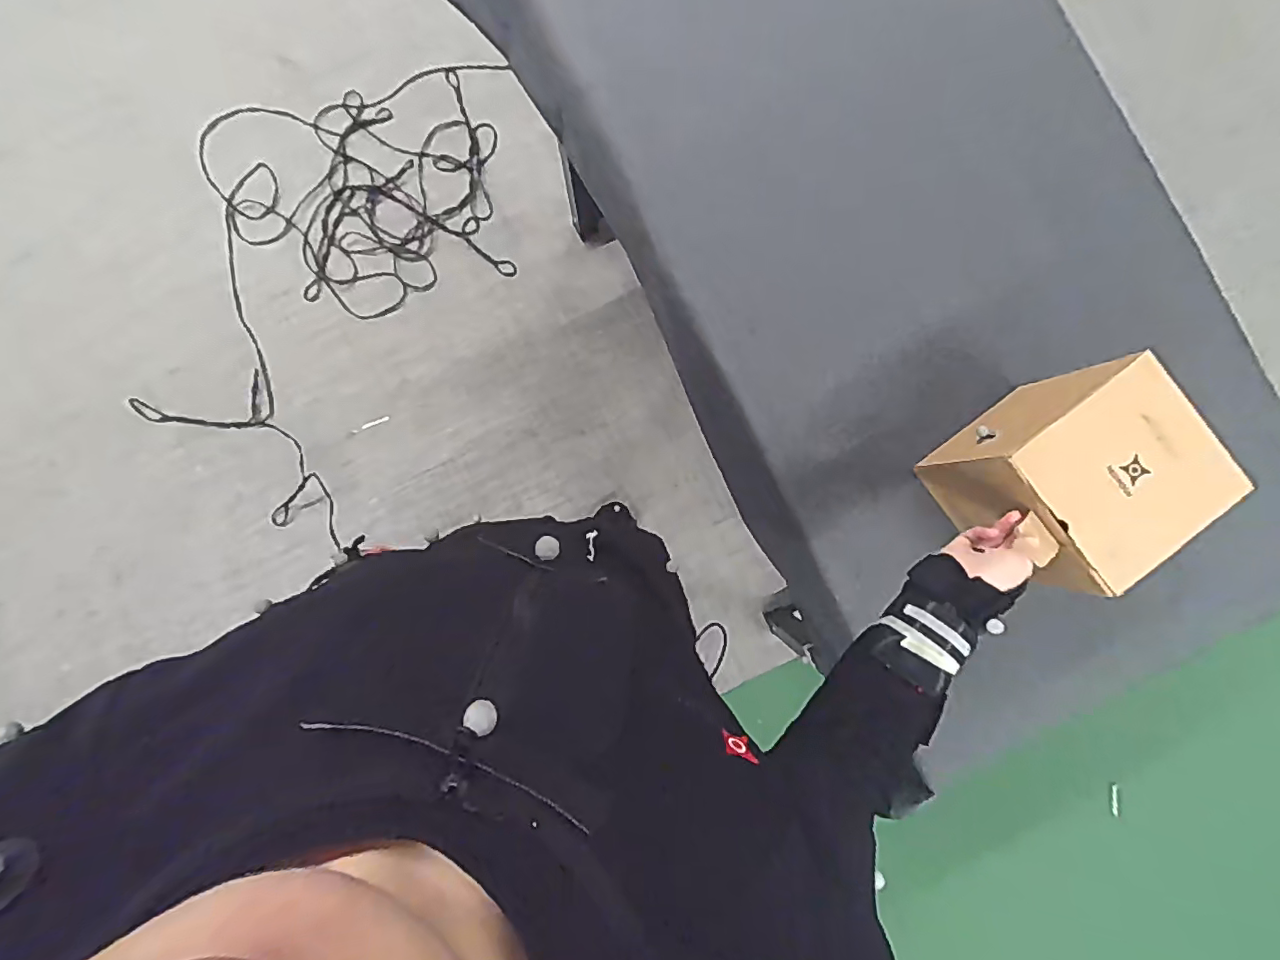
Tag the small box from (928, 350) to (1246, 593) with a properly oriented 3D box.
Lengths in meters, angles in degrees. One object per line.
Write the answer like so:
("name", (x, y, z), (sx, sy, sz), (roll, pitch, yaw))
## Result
("small box", (0.450, -0.005, 0.583), (0.179, 0.176, 0.168), (-37, 90, -4))
